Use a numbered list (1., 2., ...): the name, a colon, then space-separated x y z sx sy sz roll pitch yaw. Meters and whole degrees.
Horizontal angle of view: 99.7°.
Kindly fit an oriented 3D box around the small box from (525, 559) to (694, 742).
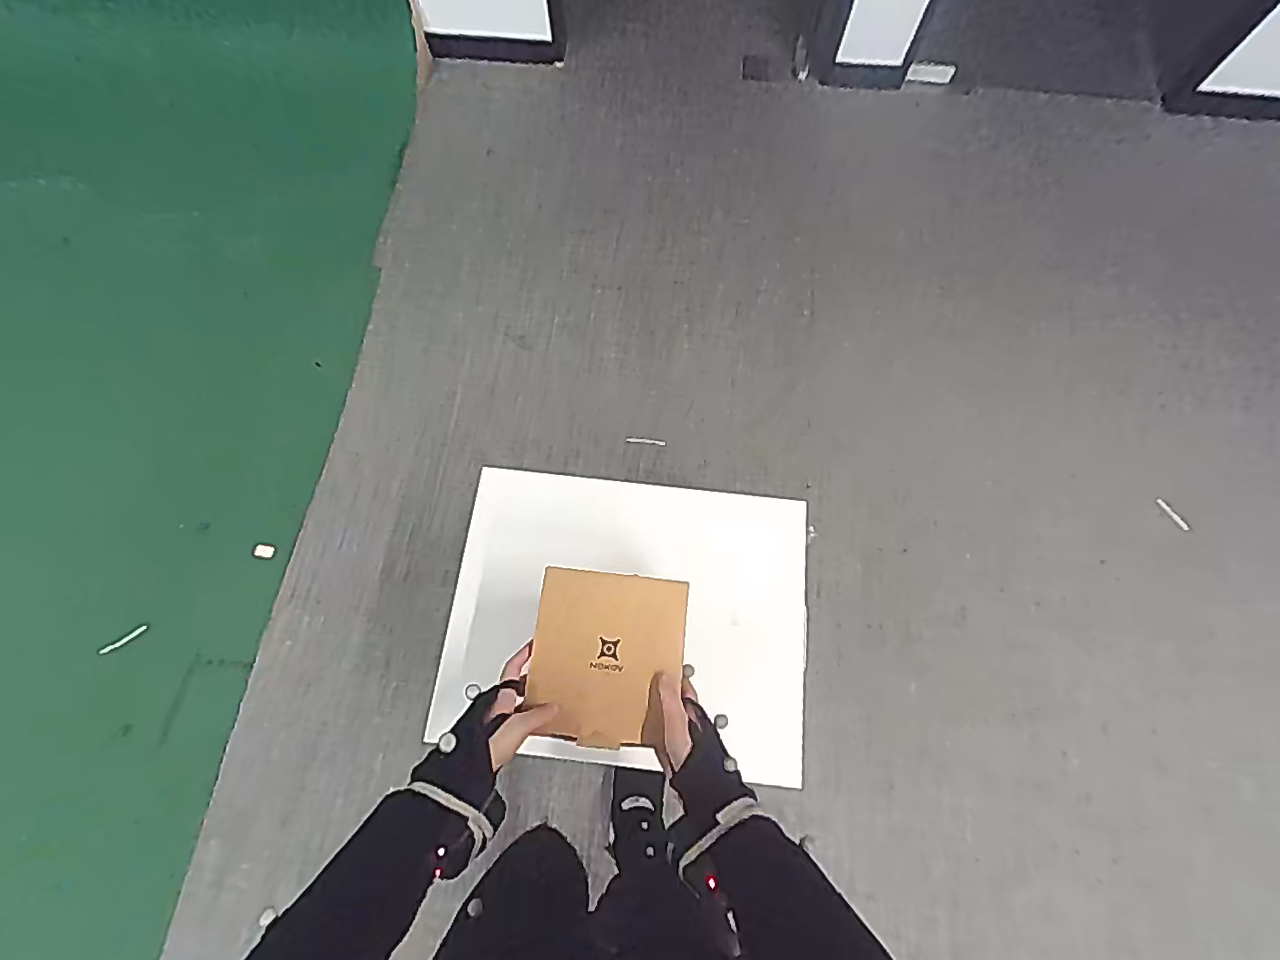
1. small box: -0.034 0.205 0.652 0.168 0.176 0.179 6 70 -1
